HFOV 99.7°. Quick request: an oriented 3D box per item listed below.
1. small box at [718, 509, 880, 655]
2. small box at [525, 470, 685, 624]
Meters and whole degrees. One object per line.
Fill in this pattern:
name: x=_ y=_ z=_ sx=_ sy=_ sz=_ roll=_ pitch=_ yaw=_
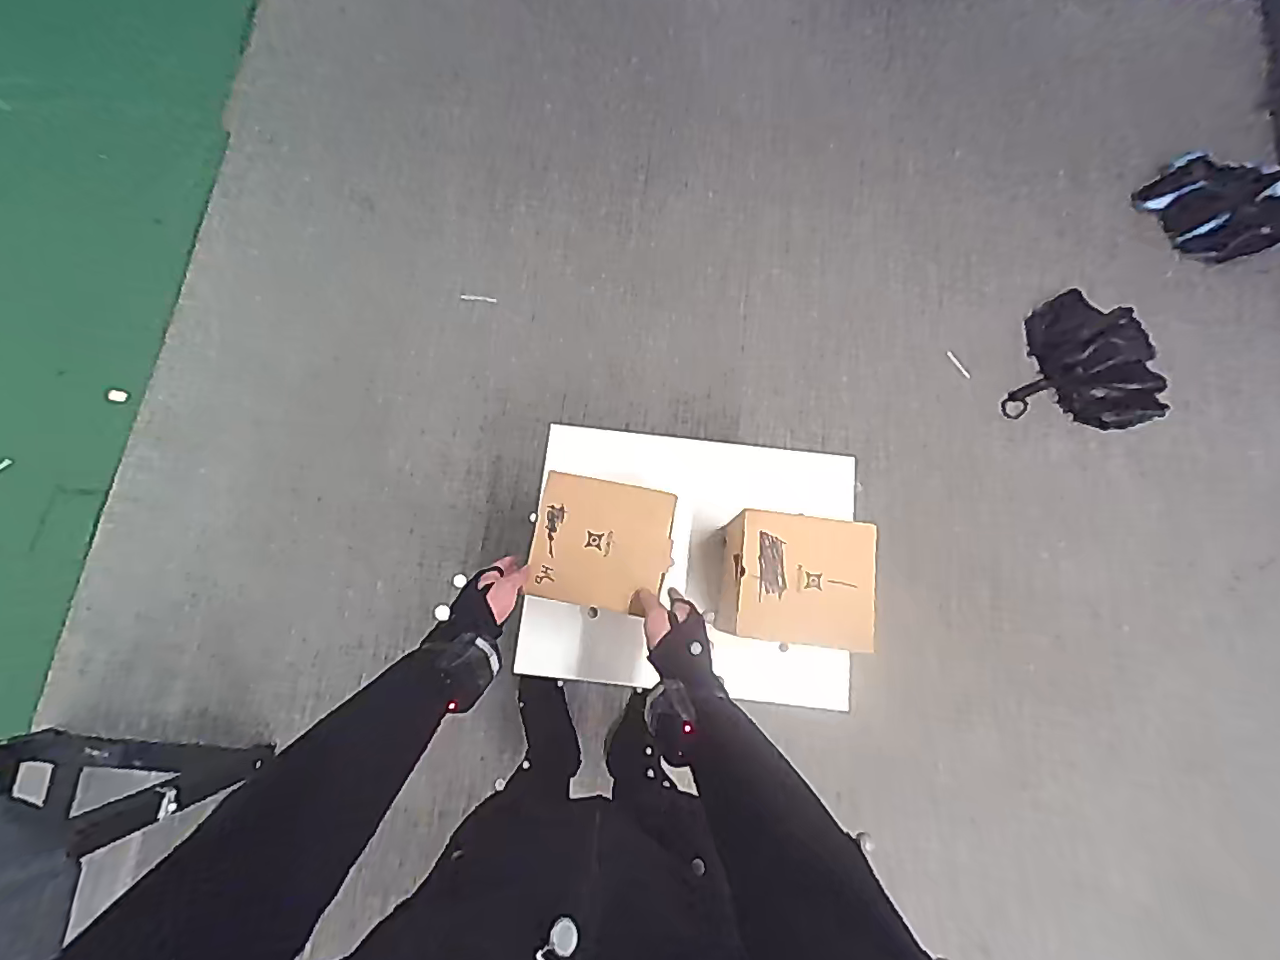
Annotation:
small box: x=0.213 y=0.146 z=0.760 sx=0.179 sy=0.176 sz=0.168 roll=8 pitch=76 yaw=-2
small box: x=-0.048 y=0.099 z=0.756 sx=0.179 sy=0.176 sz=0.168 roll=12 pitch=75 yaw=-2
